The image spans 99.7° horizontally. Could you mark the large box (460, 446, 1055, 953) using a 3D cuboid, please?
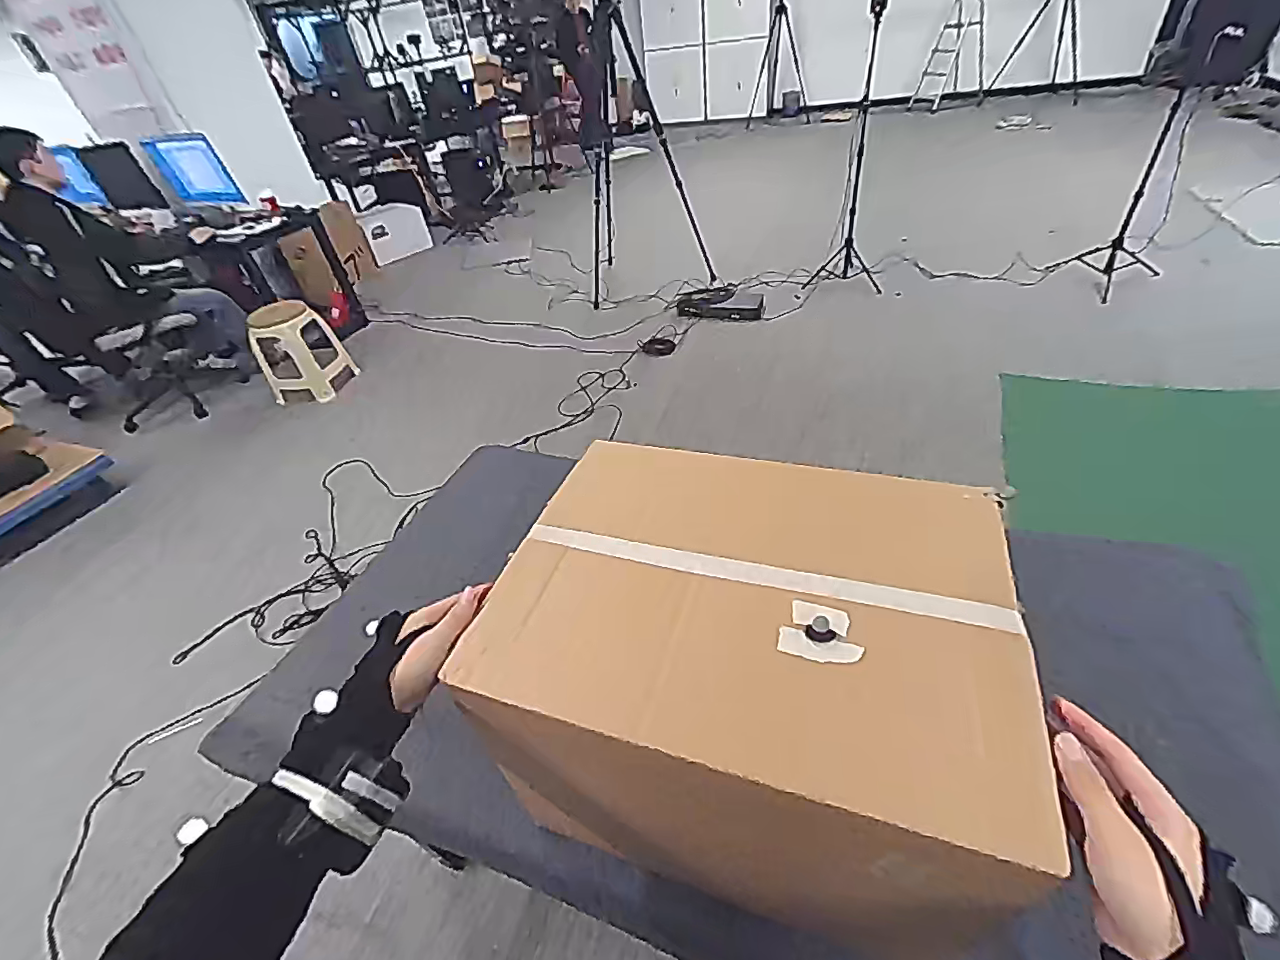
[{"bbox_3d":[0.105,0.195,0.558,0.408,0.320,0.320,9,43,18],"label":"large box"}]
